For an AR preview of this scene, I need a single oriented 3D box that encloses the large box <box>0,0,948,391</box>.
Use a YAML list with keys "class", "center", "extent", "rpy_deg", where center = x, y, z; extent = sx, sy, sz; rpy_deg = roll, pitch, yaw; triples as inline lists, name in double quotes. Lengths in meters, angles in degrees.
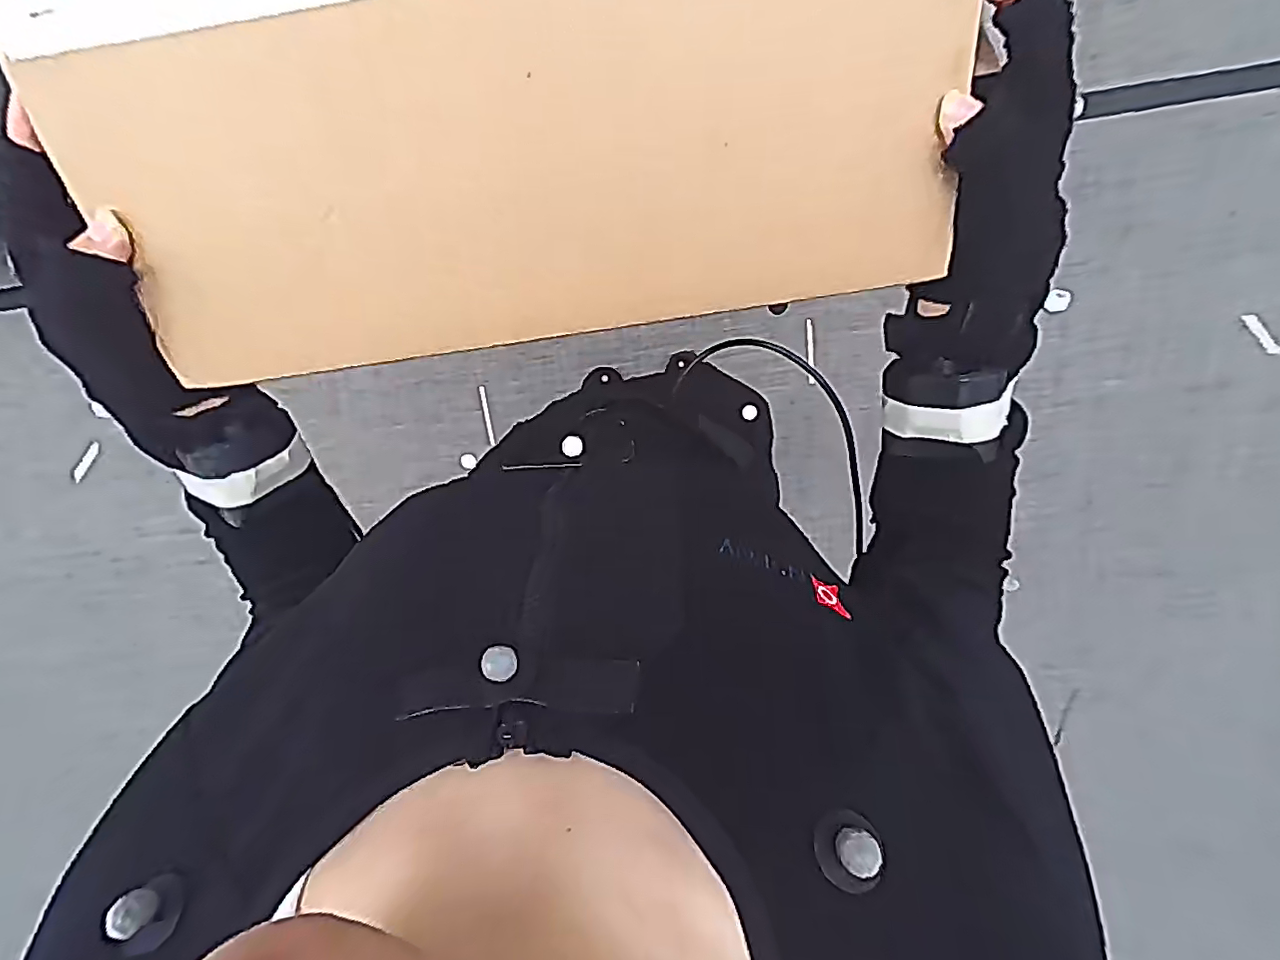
- class: "large box"
  center: [-0.070, -0.281, 0.354]
  extent: [0.408, 0.320, 0.320]
  rpy_deg: [-7, 117, 4]
